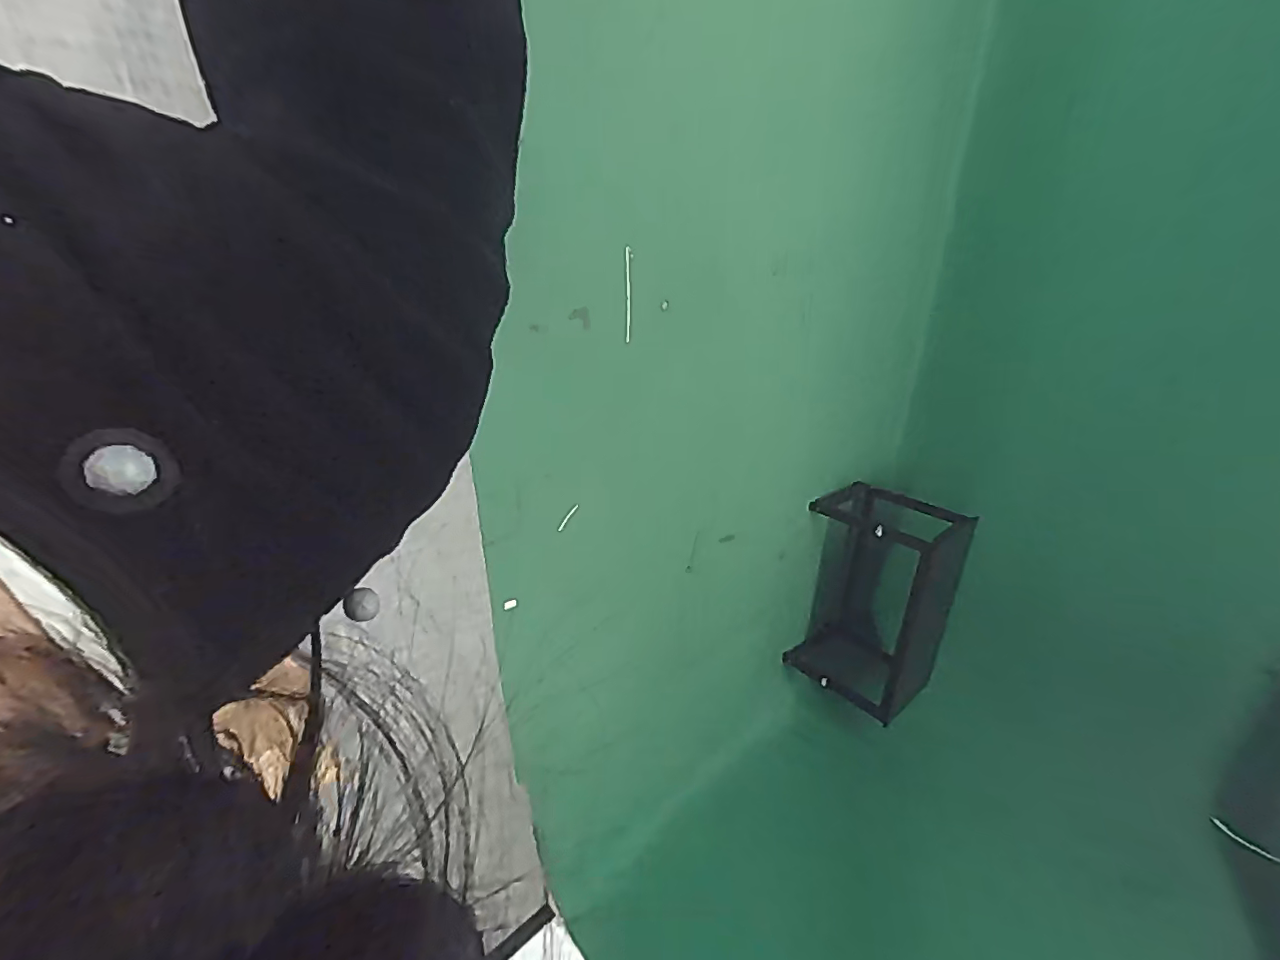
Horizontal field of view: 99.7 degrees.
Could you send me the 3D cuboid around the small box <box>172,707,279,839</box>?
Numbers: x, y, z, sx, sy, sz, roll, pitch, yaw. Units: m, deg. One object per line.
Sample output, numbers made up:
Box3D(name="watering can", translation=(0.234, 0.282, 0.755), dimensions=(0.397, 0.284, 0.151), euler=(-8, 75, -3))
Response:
Box3D(name="small box", translation=(-0.938, 0.646, 1.224), dimensions=(0.168, 0.176, 0.179), euler=(-11, 115, -40))
